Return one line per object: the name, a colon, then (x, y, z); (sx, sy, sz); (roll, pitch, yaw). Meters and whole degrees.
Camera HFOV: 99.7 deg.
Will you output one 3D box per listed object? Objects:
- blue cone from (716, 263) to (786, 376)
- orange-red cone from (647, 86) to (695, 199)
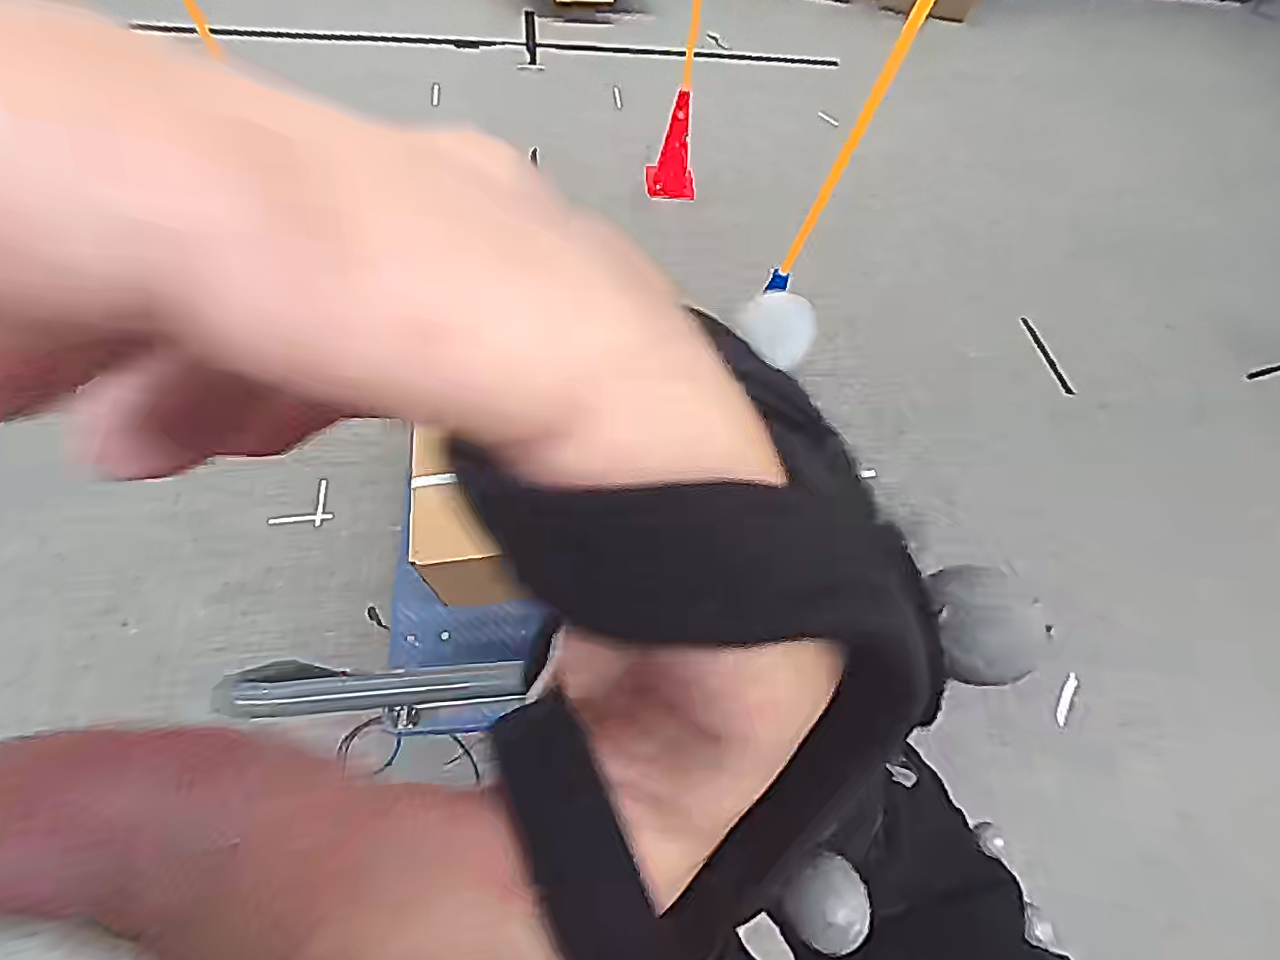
blue cone: (0.383, -0.509, 1.695); (0.193, 0.380, 0.192); (-7, 62, -11)
orange-red cone: (0.146, -1.305, 2.068); (0.199, 0.360, 0.198); (3, 63, -7)
